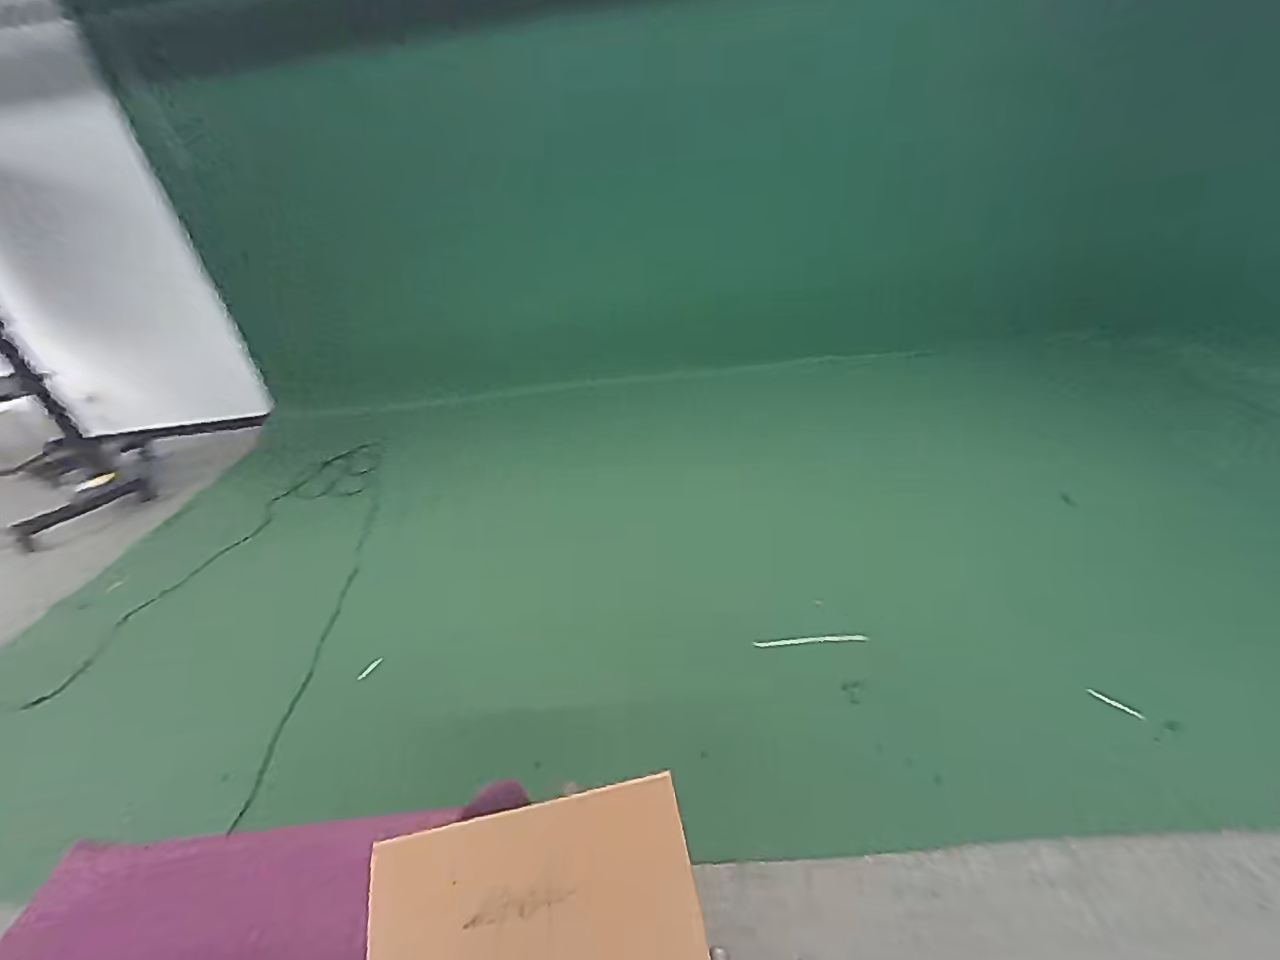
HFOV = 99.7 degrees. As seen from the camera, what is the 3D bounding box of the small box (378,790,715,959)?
[{"bbox_3d":[-0.042,0.300,0.319,0.168,0.176,0.179,-8,57,-7],"label":"small box"}]
